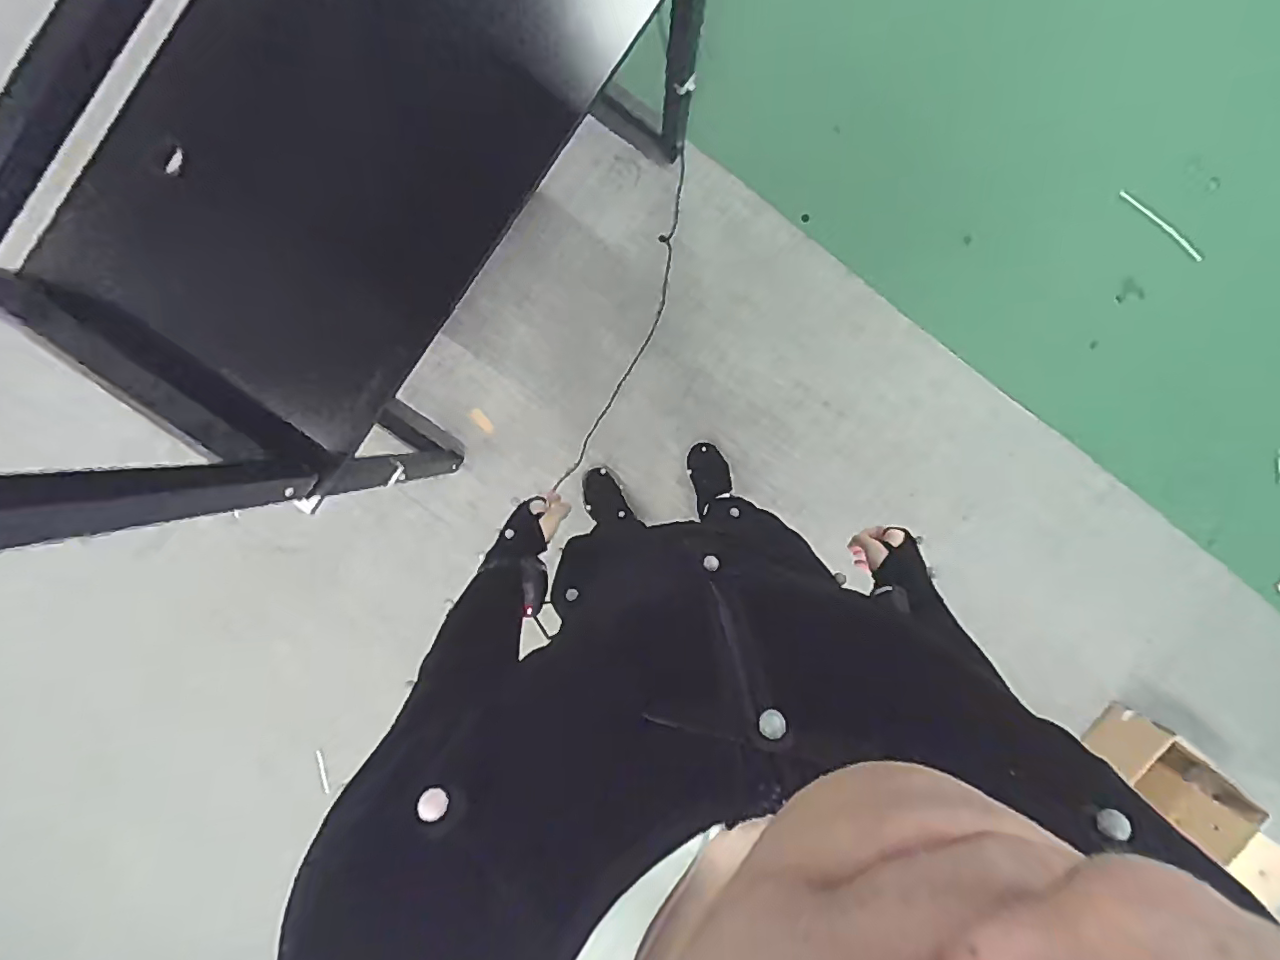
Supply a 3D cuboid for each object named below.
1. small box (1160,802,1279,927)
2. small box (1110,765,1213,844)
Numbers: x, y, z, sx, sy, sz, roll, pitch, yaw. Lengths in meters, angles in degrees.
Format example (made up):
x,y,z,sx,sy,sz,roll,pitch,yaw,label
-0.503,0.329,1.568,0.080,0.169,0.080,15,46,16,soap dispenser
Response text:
x,y,z,sx,sy,sz,roll,pitch,yaw,label
1.532,0.980,1.403,0.179,0.176,0.168,37,93,-3,small box
1.536,0.966,1.563,0.179,0.176,0.168,39,94,-2,small box
